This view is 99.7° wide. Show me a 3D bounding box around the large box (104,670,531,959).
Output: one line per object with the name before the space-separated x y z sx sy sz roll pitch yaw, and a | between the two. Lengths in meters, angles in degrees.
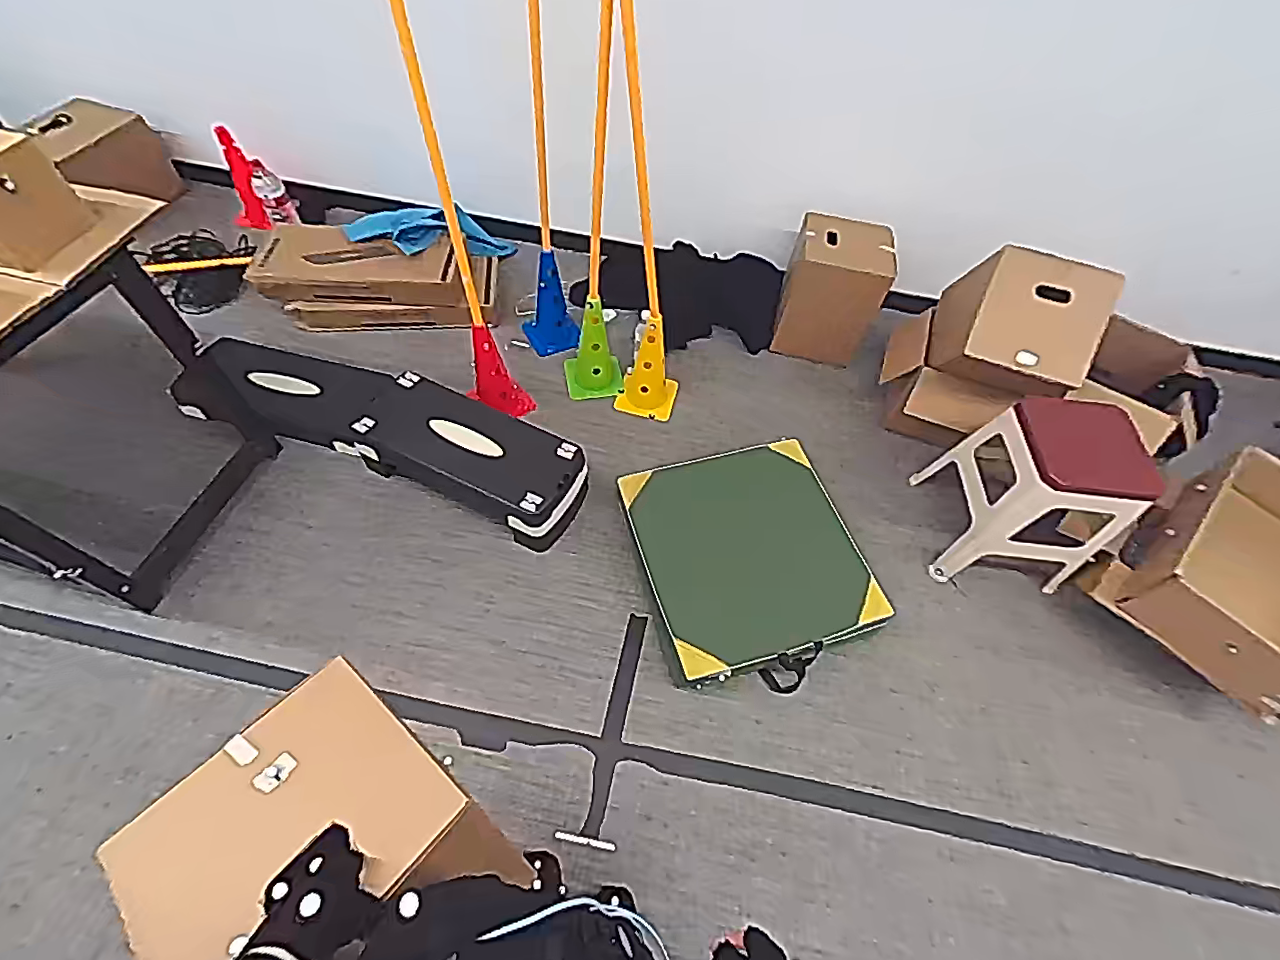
large box | -0.411 0.555 0.777 0.320 0.408 0.320 28 54 30
